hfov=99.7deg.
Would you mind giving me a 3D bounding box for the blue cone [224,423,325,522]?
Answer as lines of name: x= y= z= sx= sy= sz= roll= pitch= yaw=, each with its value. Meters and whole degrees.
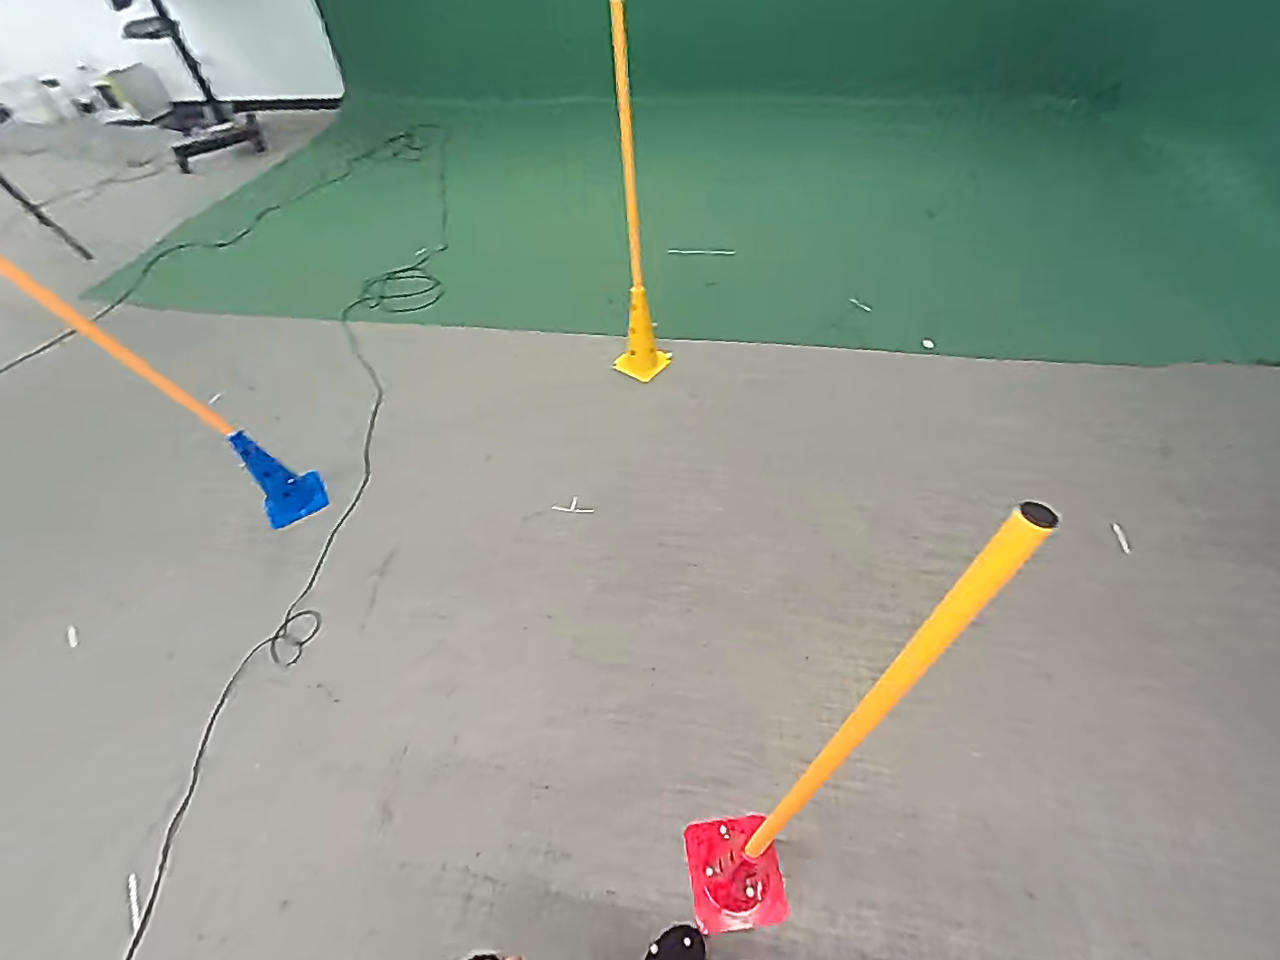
blue cone: x=-1.250 y=-0.045 z=1.811 sx=0.193 sy=0.380 sz=0.192 roll=-31 pitch=56 yaw=-18
